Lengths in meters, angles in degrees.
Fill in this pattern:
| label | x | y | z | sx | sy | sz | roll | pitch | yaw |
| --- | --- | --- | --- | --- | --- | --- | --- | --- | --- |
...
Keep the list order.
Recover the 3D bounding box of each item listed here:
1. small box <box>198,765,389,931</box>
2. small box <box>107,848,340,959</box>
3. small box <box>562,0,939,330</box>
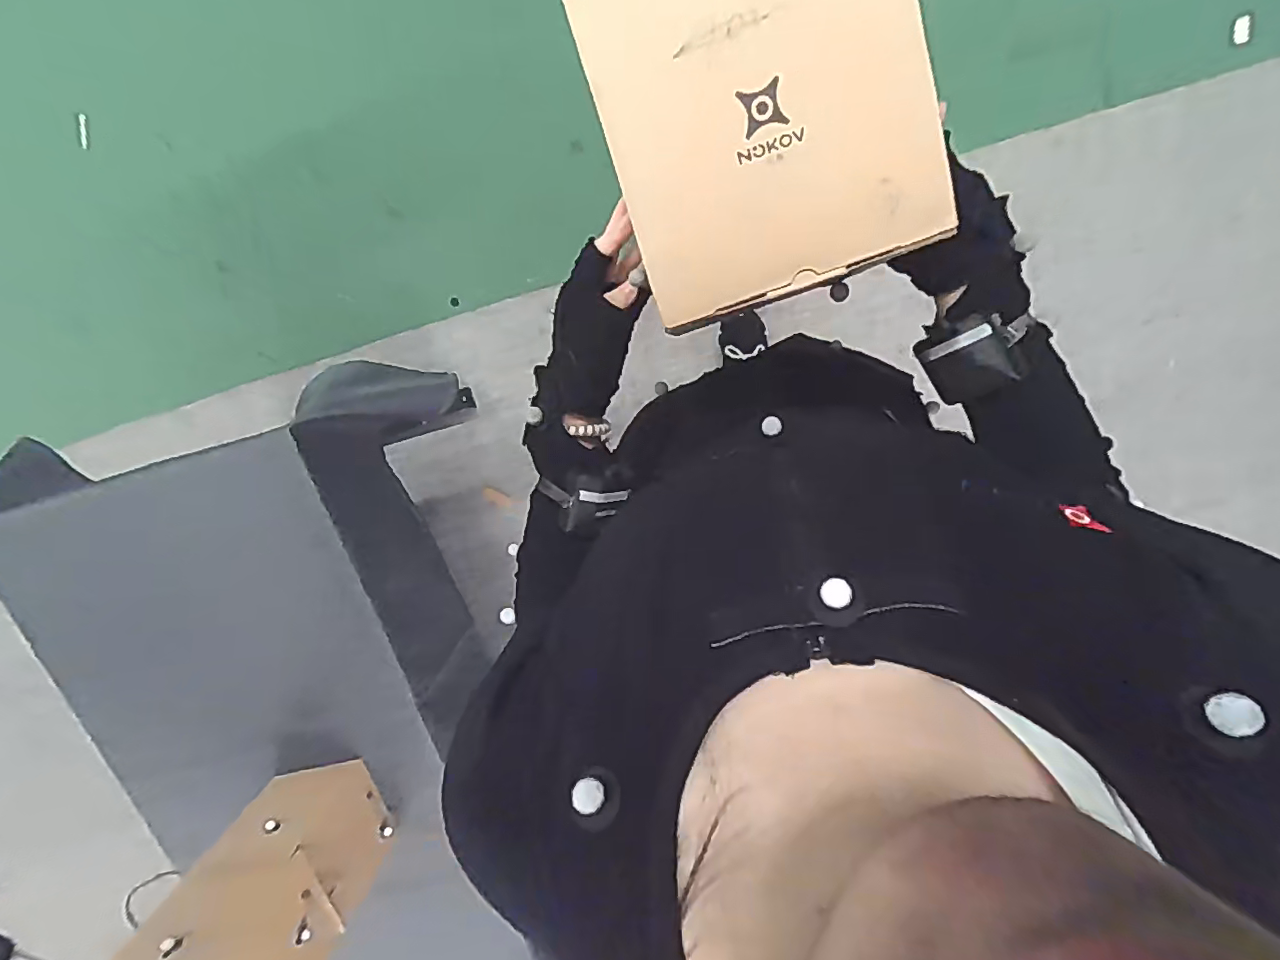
| label | x | y | z | sx | sy | sz | roll | pitch | yaw |
| --- | --- | --- | --- | --- | --- | --- | --- | --- | --- |
| small box | -0.538 | 0.593 | 0.874 | 0.179 | 0.176 | 0.168 | -15 | 103 | 9 |
| small box | -0.549 | 0.633 | 0.718 | 0.179 | 0.176 | 0.168 | -15 | 103 | 8 |
| small box | 0.068 | -0.211 | 0.364 | 0.168 | 0.176 | 0.179 | -17 | 103 | 9 |
